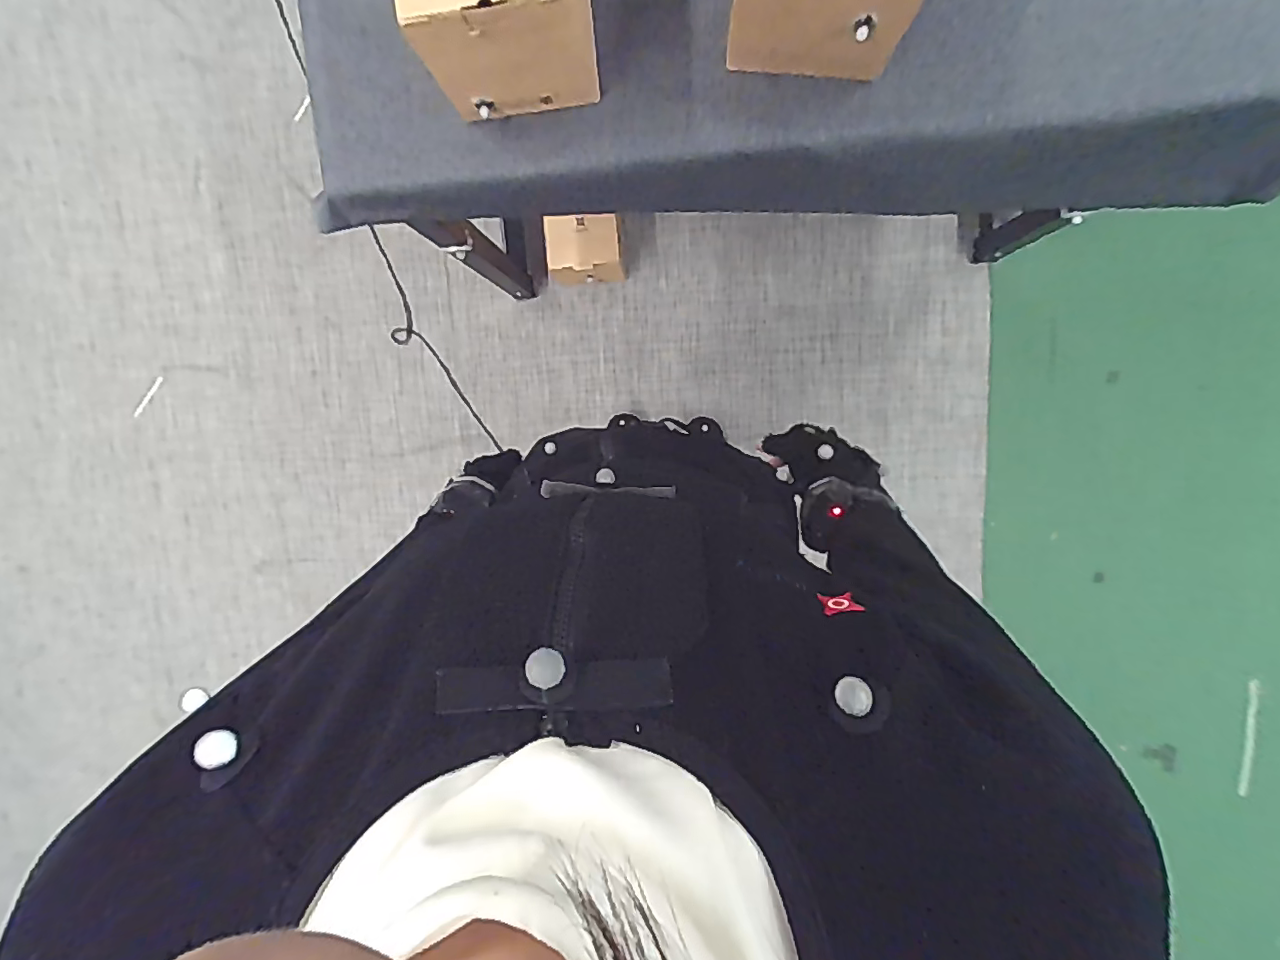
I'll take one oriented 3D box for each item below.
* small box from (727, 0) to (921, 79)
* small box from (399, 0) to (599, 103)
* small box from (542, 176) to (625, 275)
[{"bbox_3d":[0.190,-0.537,0.536,0.179,0.176,0.168,8,97,4],"label":"small box"},{"bbox_3d":[-0.139,-0.524,0.557,0.168,0.176,0.179,-5,95,4],"label":"small box"},{"bbox_3d":[-0.128,-0.594,1.286,0.168,0.176,0.179,-3,98,4],"label":"small box"}]
